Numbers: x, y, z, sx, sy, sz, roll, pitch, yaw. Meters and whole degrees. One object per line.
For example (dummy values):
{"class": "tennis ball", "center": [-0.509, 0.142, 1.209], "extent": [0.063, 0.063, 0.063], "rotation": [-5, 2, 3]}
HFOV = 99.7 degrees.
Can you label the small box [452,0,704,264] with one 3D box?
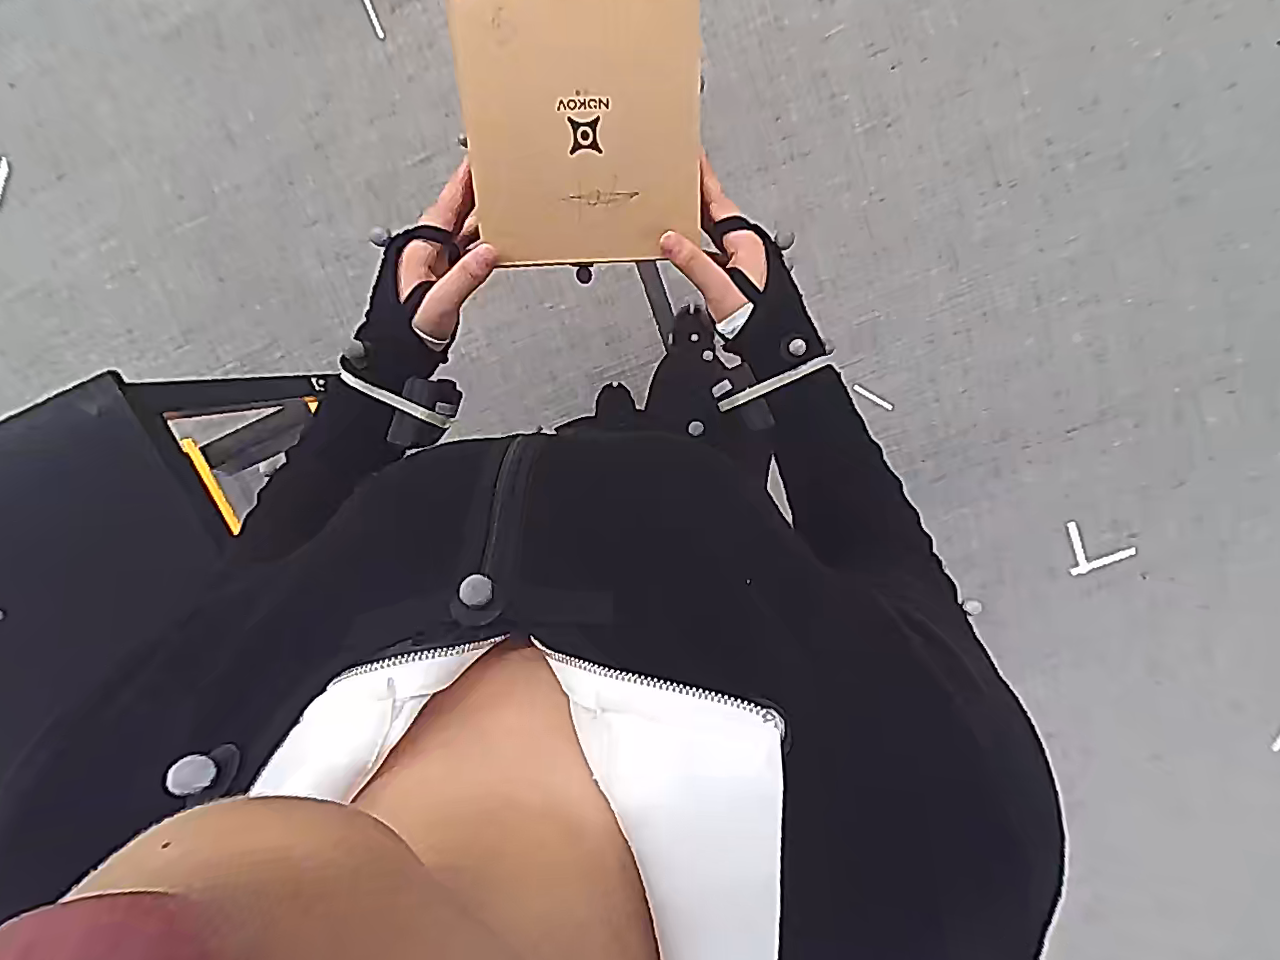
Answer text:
{"class": "small box", "center": [-0.043, -0.276, 0.446], "extent": [0.168, 0.176, 0.179], "rotation": [-3, 112, -2]}
